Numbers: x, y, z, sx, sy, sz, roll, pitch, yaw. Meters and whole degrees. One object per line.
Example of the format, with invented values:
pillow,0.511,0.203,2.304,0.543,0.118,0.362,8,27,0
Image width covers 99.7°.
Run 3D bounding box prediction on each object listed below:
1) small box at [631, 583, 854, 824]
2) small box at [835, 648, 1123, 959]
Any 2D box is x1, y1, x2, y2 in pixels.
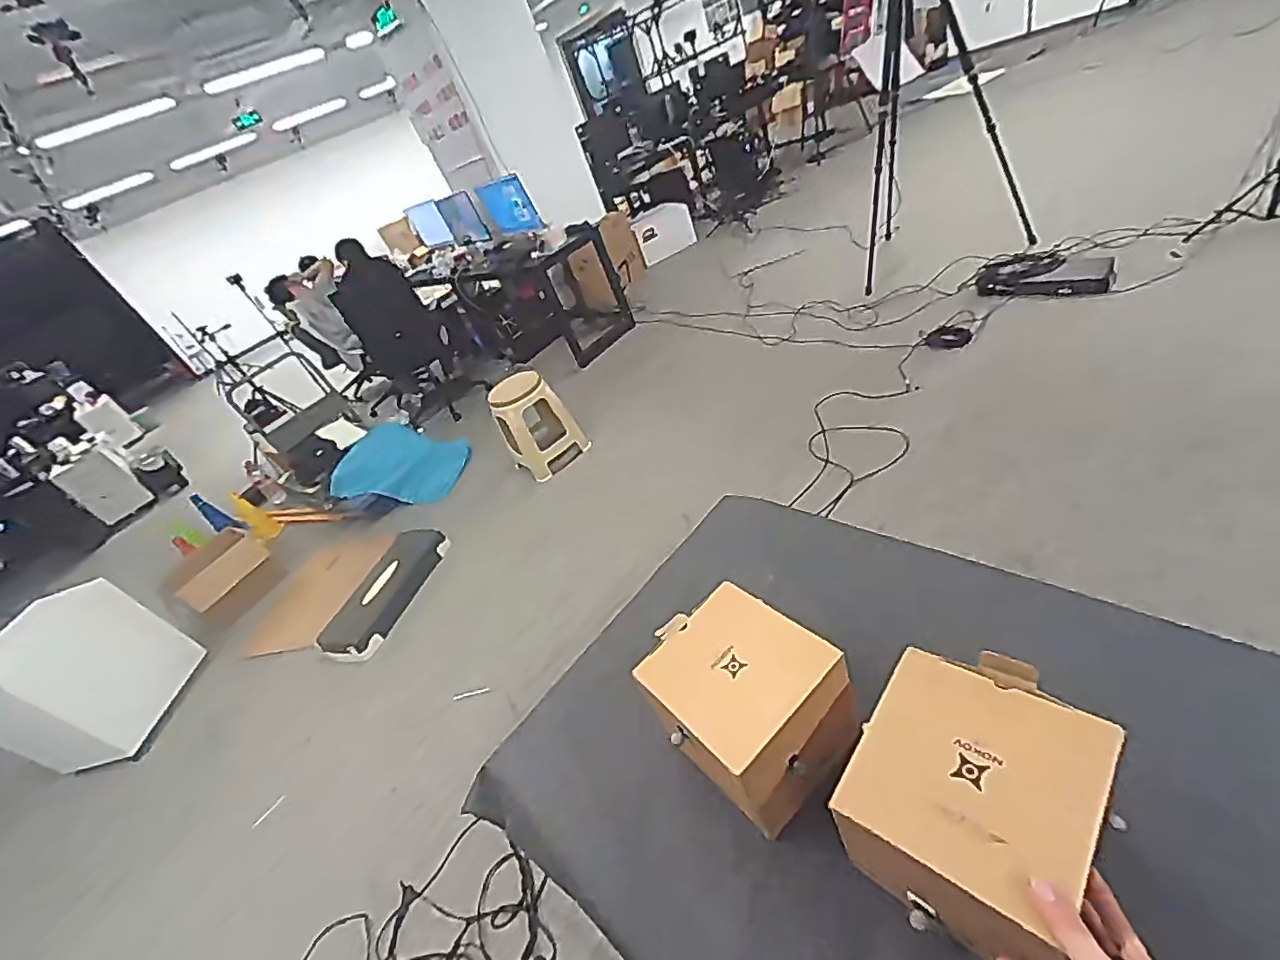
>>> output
small box,0.125,0.261,0.632,0.168,0.176,0.179,-39,37,-20
small box,0.297,0.294,0.484,0.168,0.176,0.179,14,50,43
